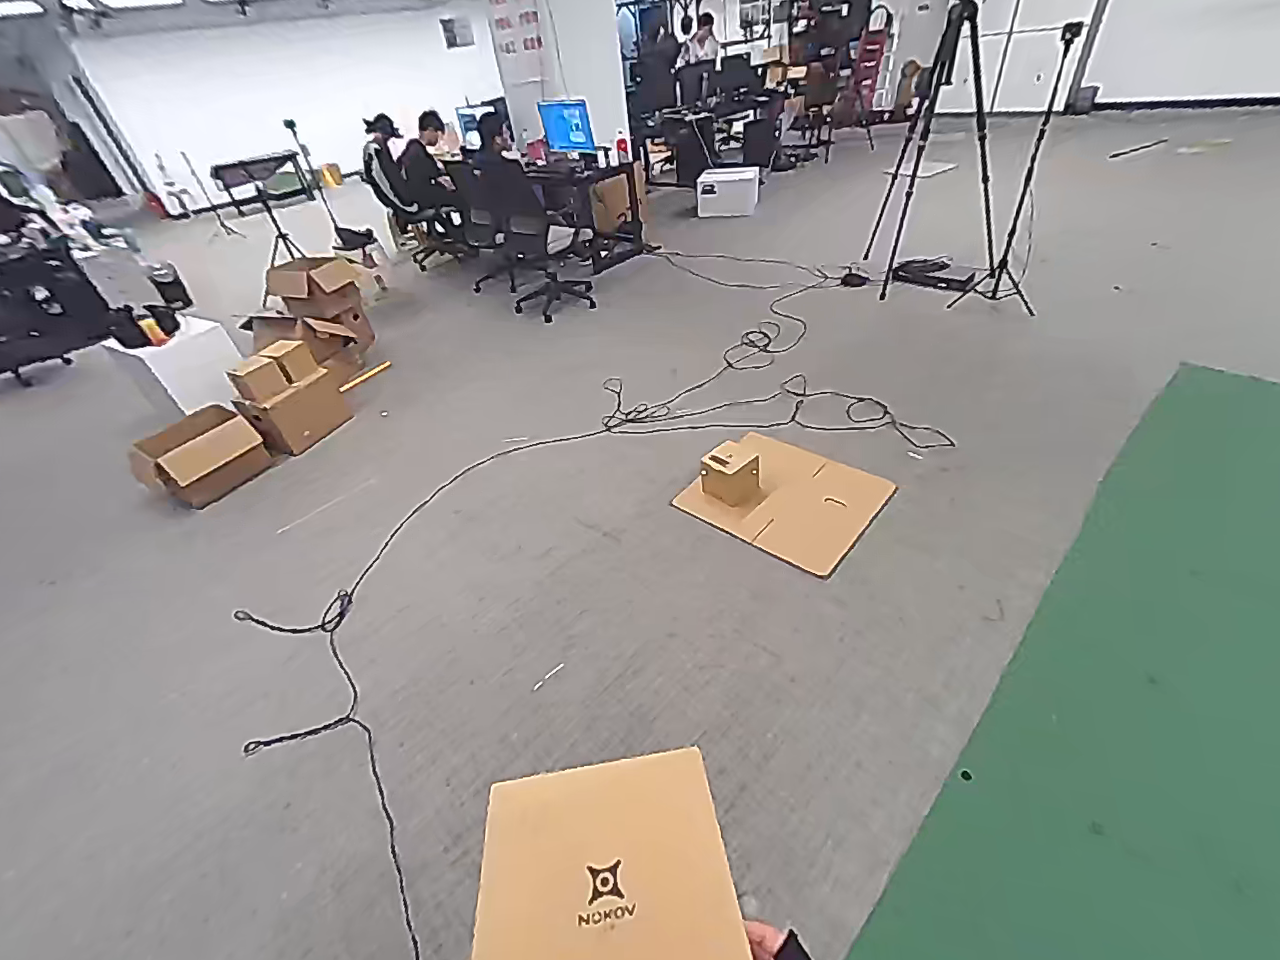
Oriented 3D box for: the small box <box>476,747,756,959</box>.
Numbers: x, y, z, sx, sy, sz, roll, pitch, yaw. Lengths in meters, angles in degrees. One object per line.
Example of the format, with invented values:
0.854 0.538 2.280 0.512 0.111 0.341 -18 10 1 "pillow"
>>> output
-0.014 0.332 0.387 0.168 0.176 0.179 -8 29 -4 "small box"
